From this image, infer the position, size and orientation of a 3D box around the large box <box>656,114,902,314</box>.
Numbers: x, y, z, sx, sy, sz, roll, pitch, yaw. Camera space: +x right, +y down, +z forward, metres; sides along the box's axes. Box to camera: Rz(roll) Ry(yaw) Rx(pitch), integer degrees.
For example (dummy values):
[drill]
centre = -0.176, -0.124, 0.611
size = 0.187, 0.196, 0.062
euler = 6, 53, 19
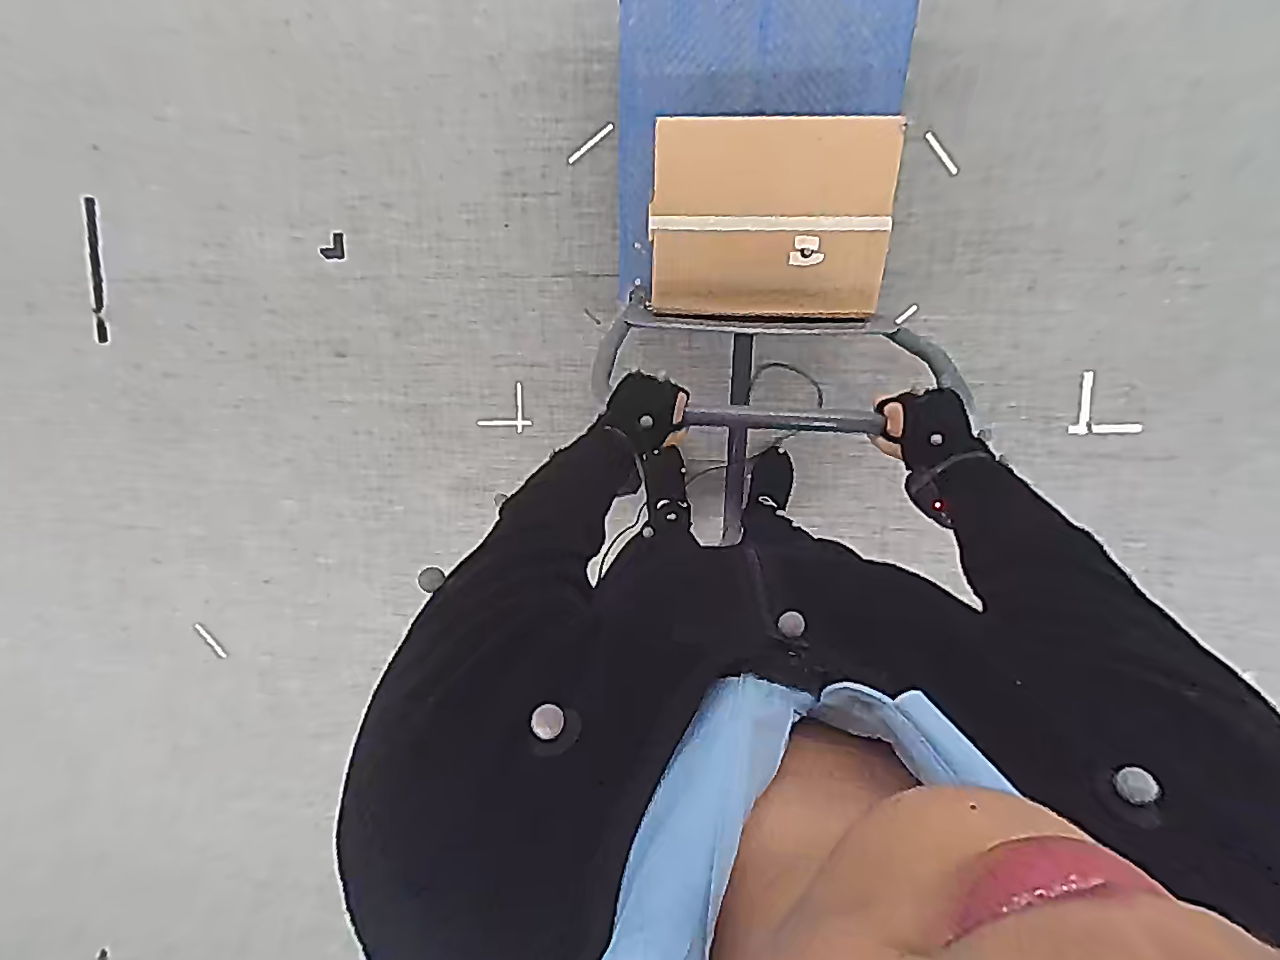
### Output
[large box]
centre = 0.238, -0.512, 1.082
size = 0.408, 0.320, 0.320
euler = 2, 114, 4
